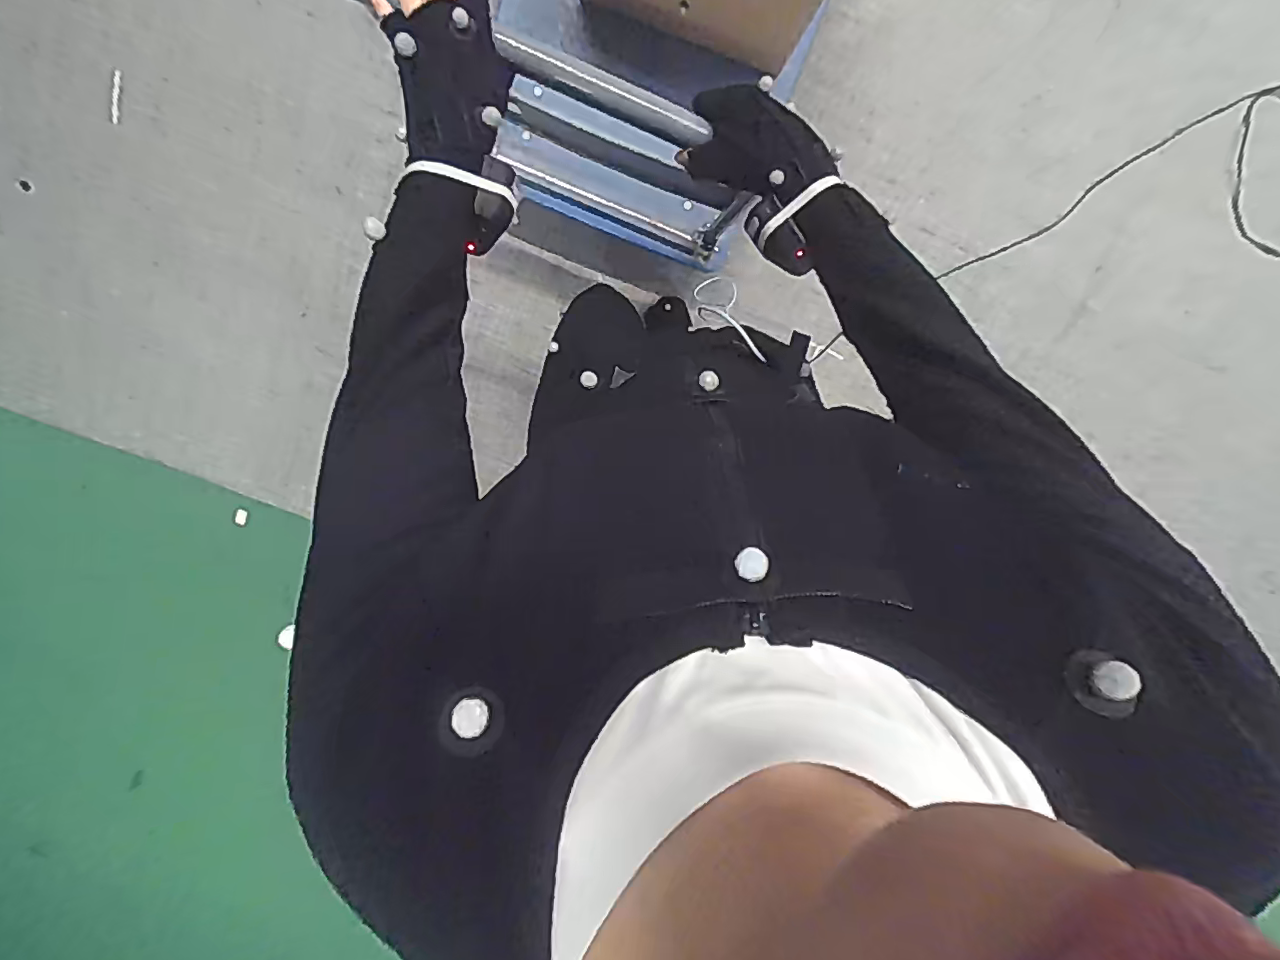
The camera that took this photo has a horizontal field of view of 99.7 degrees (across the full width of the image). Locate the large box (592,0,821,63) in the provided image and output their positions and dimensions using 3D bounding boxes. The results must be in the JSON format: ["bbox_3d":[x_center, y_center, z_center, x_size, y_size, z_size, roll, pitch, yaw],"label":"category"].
[{"bbox_3d":[0.125,-0.940,0.848,0.408,0.320,0.320,17,109,-4],"label":"large box"}]
